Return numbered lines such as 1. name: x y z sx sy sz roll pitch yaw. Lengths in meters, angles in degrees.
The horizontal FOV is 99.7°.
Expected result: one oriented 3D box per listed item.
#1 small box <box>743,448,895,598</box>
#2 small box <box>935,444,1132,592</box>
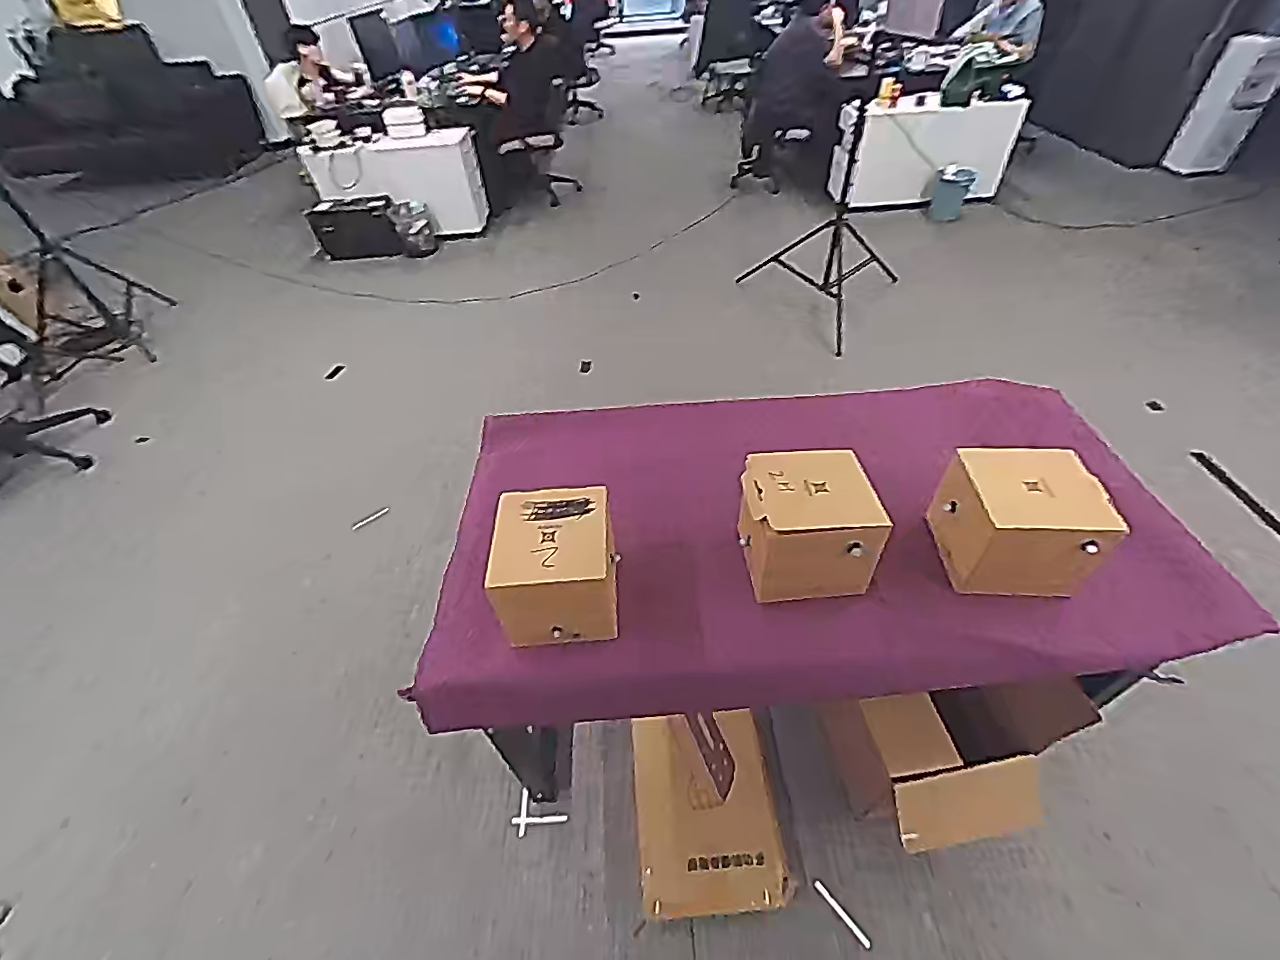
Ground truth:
1. small box: 0.269 0.069 0.859 0.179 0.176 0.168 -5 43 0
2. small box: 0.587 0.060 0.844 0.179 0.176 0.168 0 46 5
